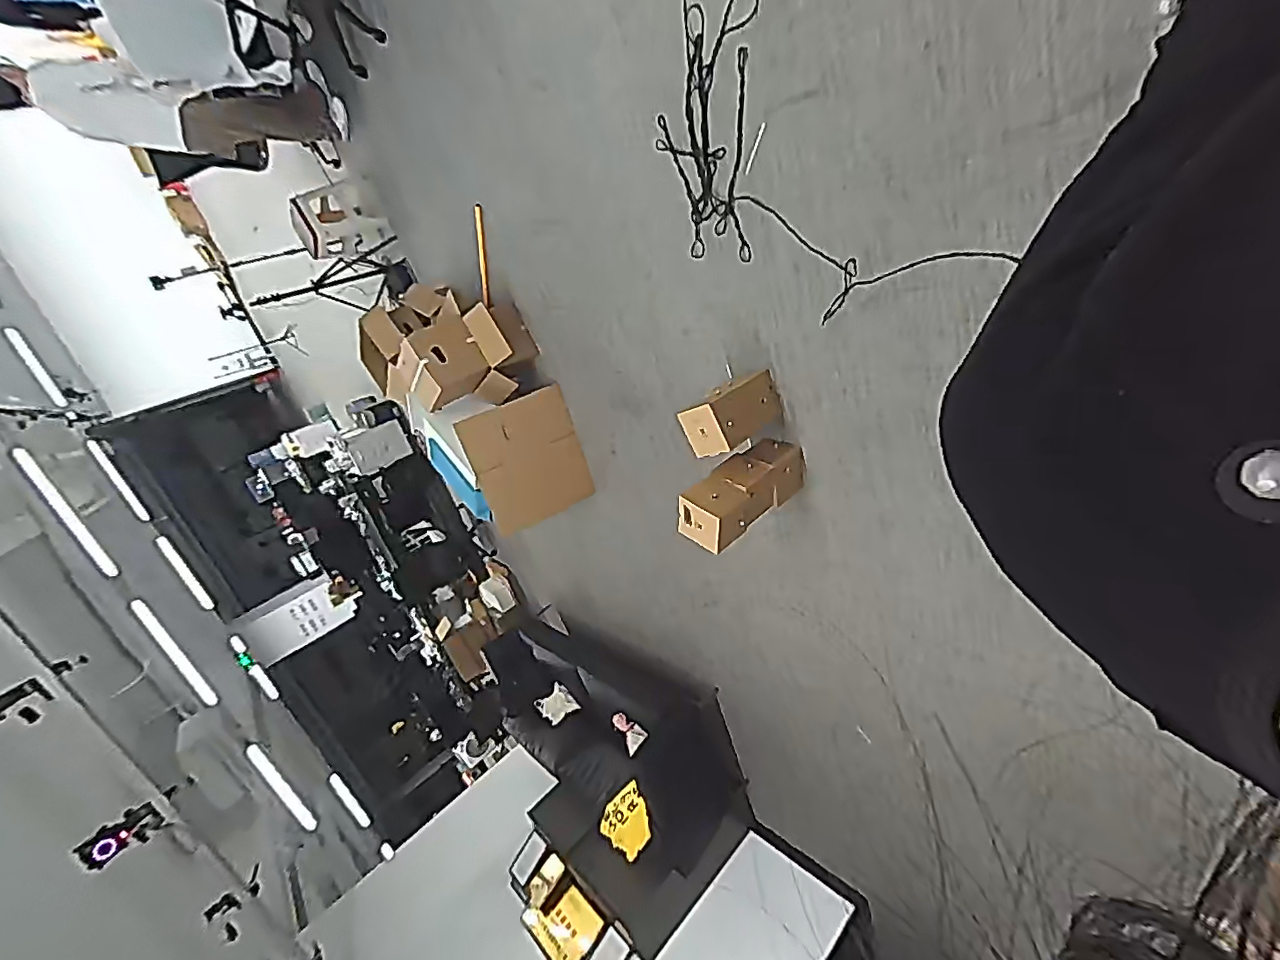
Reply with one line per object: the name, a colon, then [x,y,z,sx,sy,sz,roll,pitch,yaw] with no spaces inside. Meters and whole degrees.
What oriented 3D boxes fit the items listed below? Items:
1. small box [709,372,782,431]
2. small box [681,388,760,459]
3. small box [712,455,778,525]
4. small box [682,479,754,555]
small box: [0.386,-0.273,1.936,0.179,0.176,0.168,-3,115,55]
small box: [0.280,-0.192,1.842,0.168,0.176,0.179,-10,109,55]
small box: [0.373,0.040,1.921,0.168,0.176,0.179,27,136,40]
small box: [0.261,0.117,1.829,0.179,0.176,0.168,30,138,36]
